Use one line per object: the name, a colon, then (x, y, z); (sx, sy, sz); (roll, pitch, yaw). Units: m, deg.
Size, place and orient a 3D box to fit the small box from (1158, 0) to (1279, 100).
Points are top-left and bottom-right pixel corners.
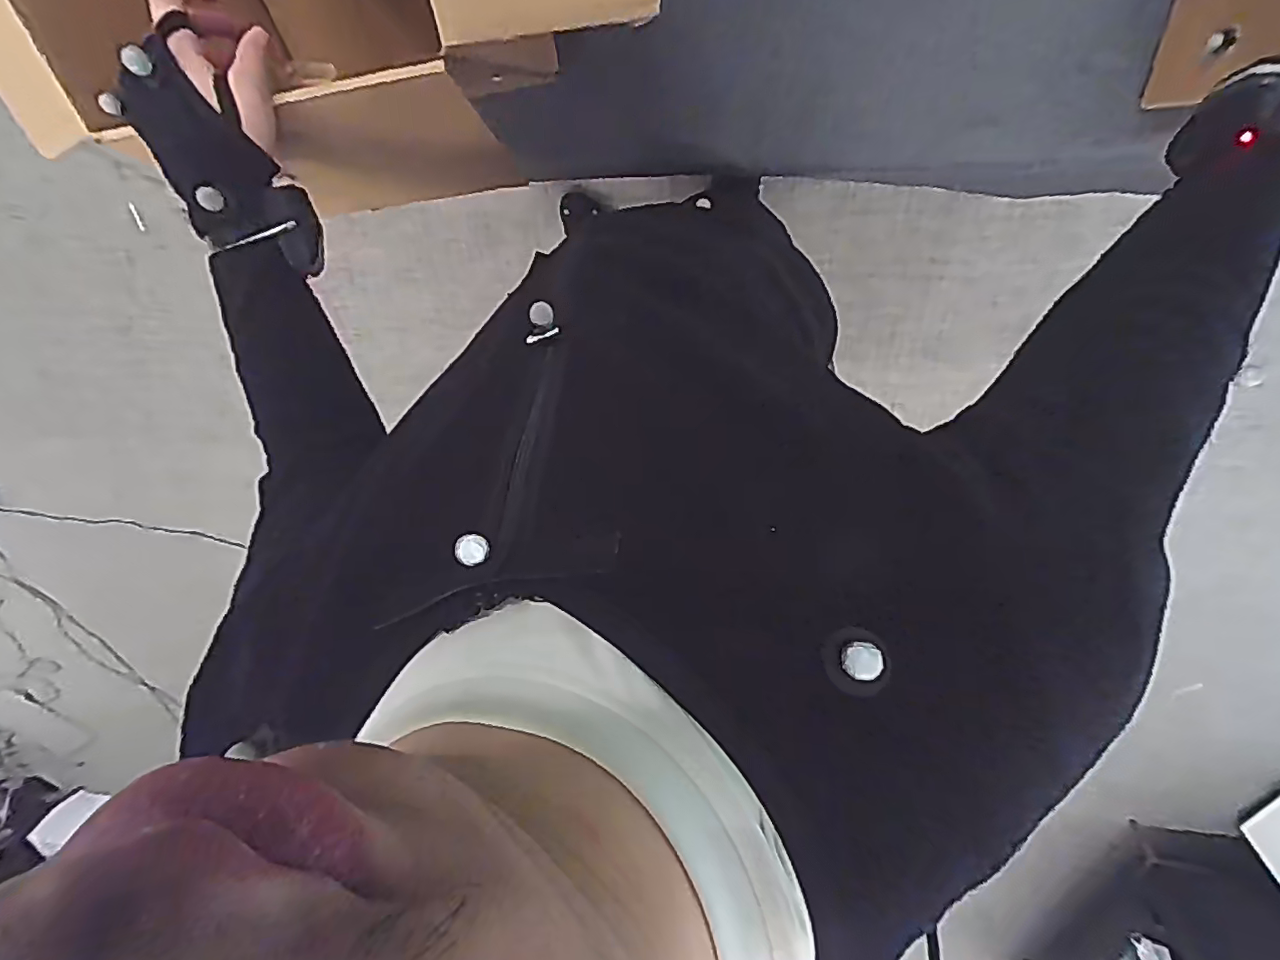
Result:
small box: (0.578, -0.416, 0.429); (0.168, 0.176, 0.179); (-1, 121, 8)
